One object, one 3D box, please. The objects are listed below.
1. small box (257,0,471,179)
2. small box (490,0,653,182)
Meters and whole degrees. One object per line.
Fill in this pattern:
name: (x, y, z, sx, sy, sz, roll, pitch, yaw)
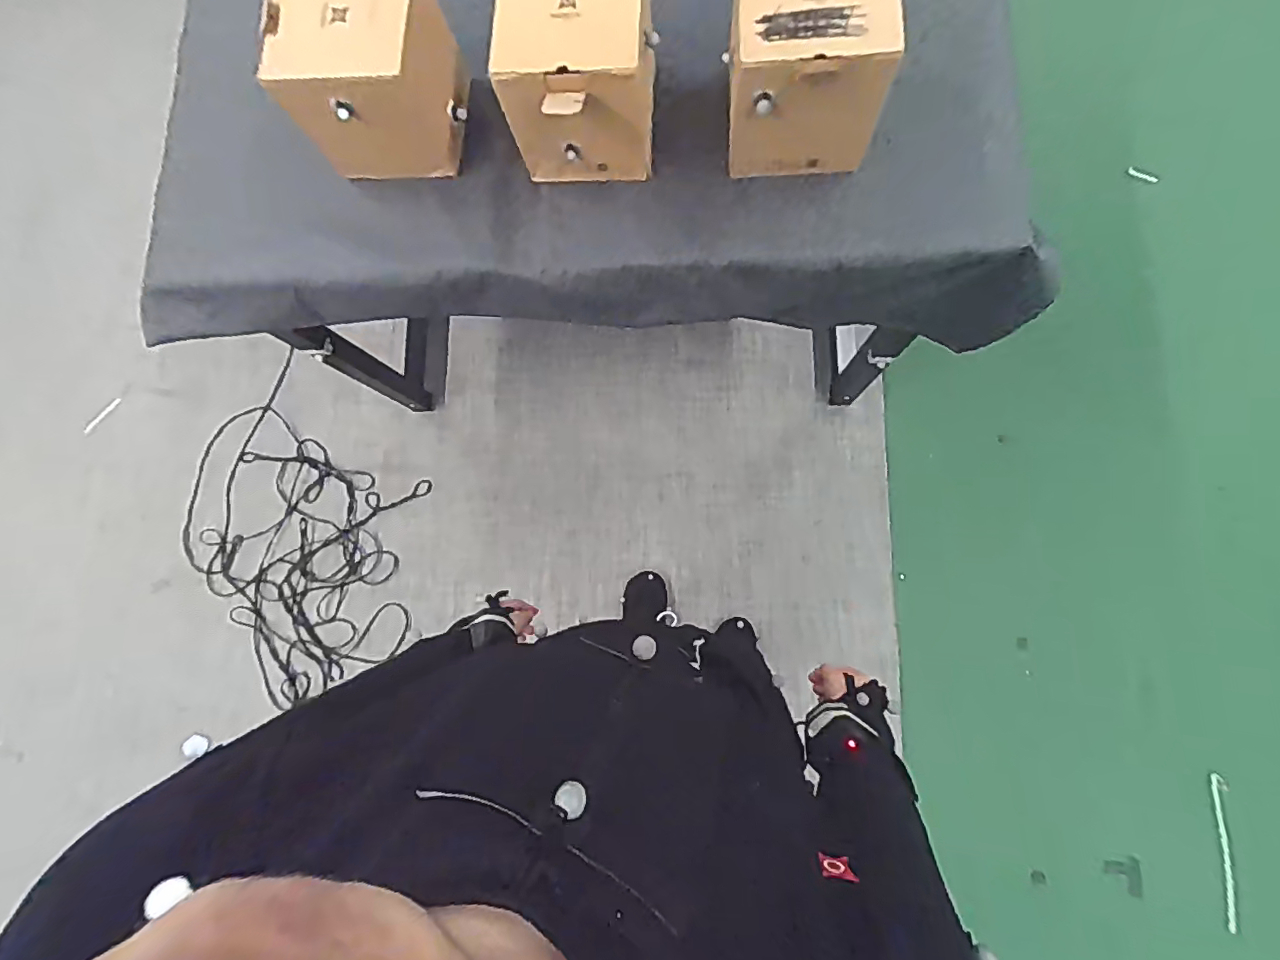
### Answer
small box: (-0.341, -0.518, 0.700, 0.179, 0.176, 0.168, 2, 82, 5)
small box: (-0.073, -0.508, 0.673, 0.168, 0.176, 0.179, 2, 82, 5)
